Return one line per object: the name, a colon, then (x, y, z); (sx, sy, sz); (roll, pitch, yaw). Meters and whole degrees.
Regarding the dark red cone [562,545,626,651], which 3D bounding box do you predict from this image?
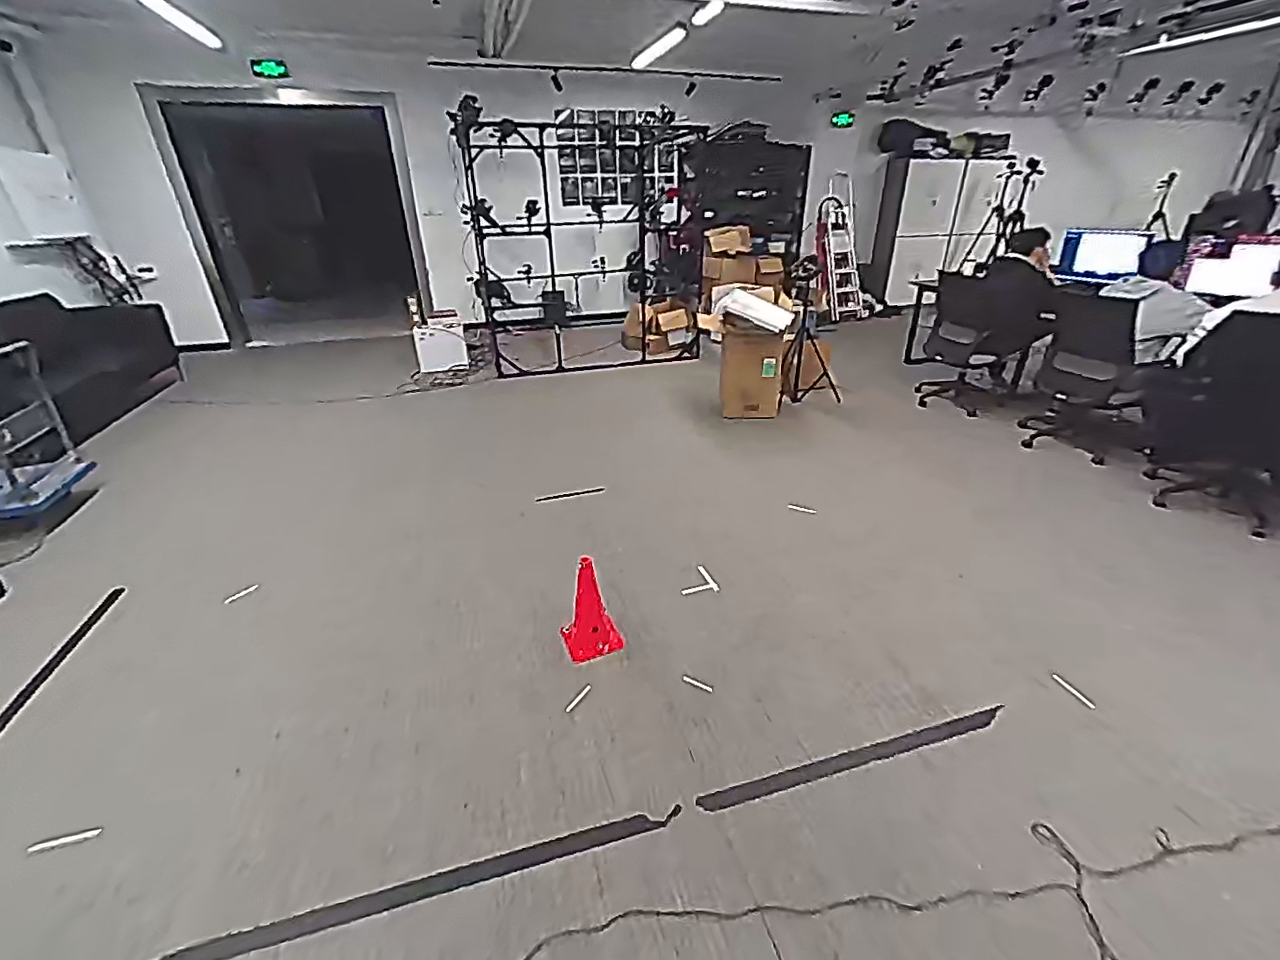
dark red cone: (-0.173, 0.398, 1.904); (0.202, 0.394, 0.201); (-12, 30, -21)
